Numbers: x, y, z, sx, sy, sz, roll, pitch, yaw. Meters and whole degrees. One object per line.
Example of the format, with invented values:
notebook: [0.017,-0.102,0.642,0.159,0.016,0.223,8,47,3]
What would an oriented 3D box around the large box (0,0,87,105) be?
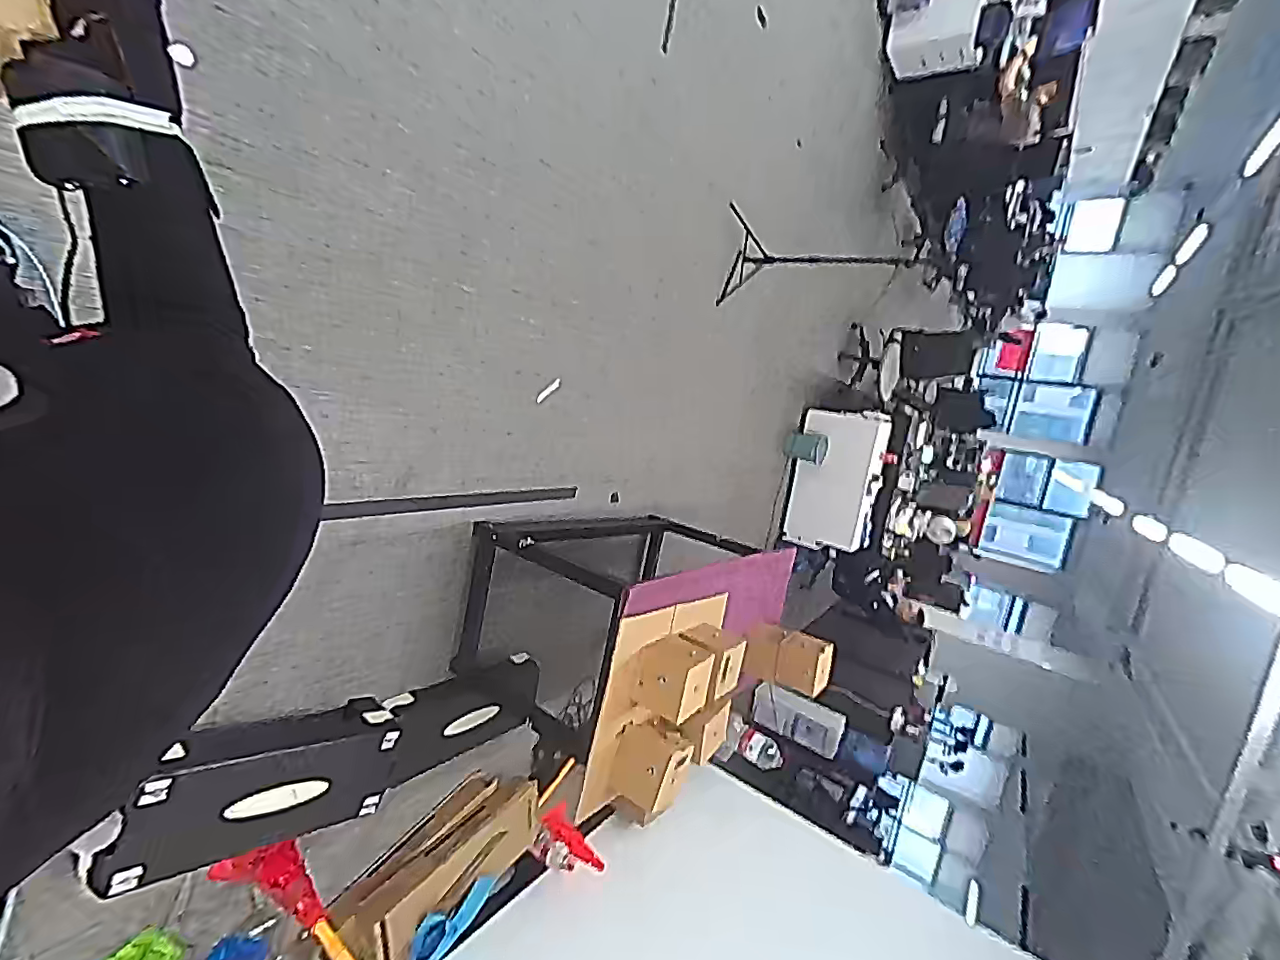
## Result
large box: [-0.593,-0.382,0.224,0.408,0.320,0.320,-27,131,-51]
